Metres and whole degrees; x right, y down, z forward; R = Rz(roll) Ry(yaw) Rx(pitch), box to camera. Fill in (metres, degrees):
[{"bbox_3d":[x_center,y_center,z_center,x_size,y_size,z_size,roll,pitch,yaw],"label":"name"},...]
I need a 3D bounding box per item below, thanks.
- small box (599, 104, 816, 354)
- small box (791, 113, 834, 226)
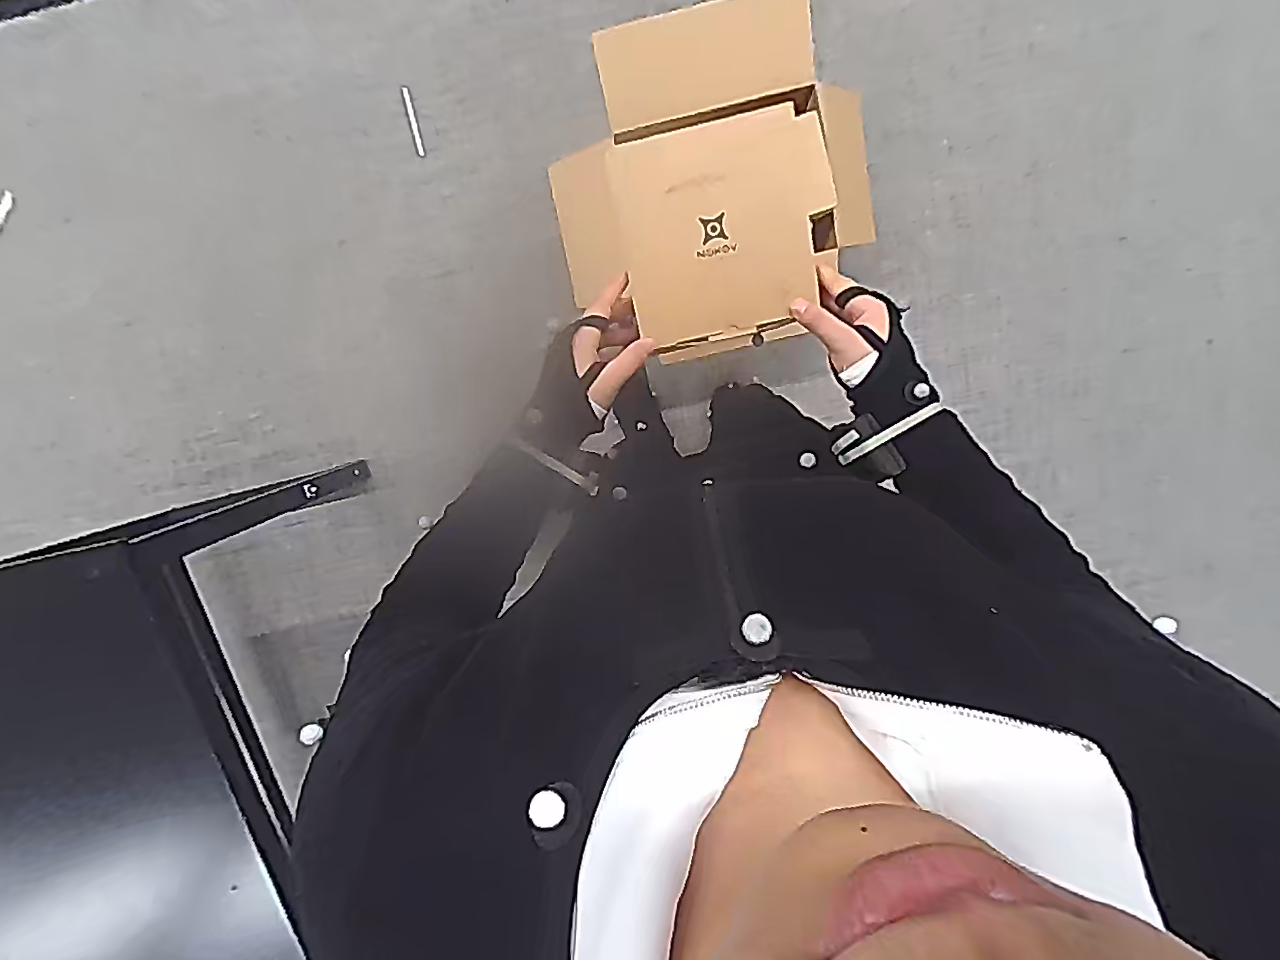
[{"bbox_3d":[0.064,-0.231,0.550,0.168,0.176,0.179,-12,101,3],"label":"small box"},{"bbox_3d":[0.265,-0.591,1.094,0.168,0.176,0.179,-19,102,0],"label":"small box"}]
